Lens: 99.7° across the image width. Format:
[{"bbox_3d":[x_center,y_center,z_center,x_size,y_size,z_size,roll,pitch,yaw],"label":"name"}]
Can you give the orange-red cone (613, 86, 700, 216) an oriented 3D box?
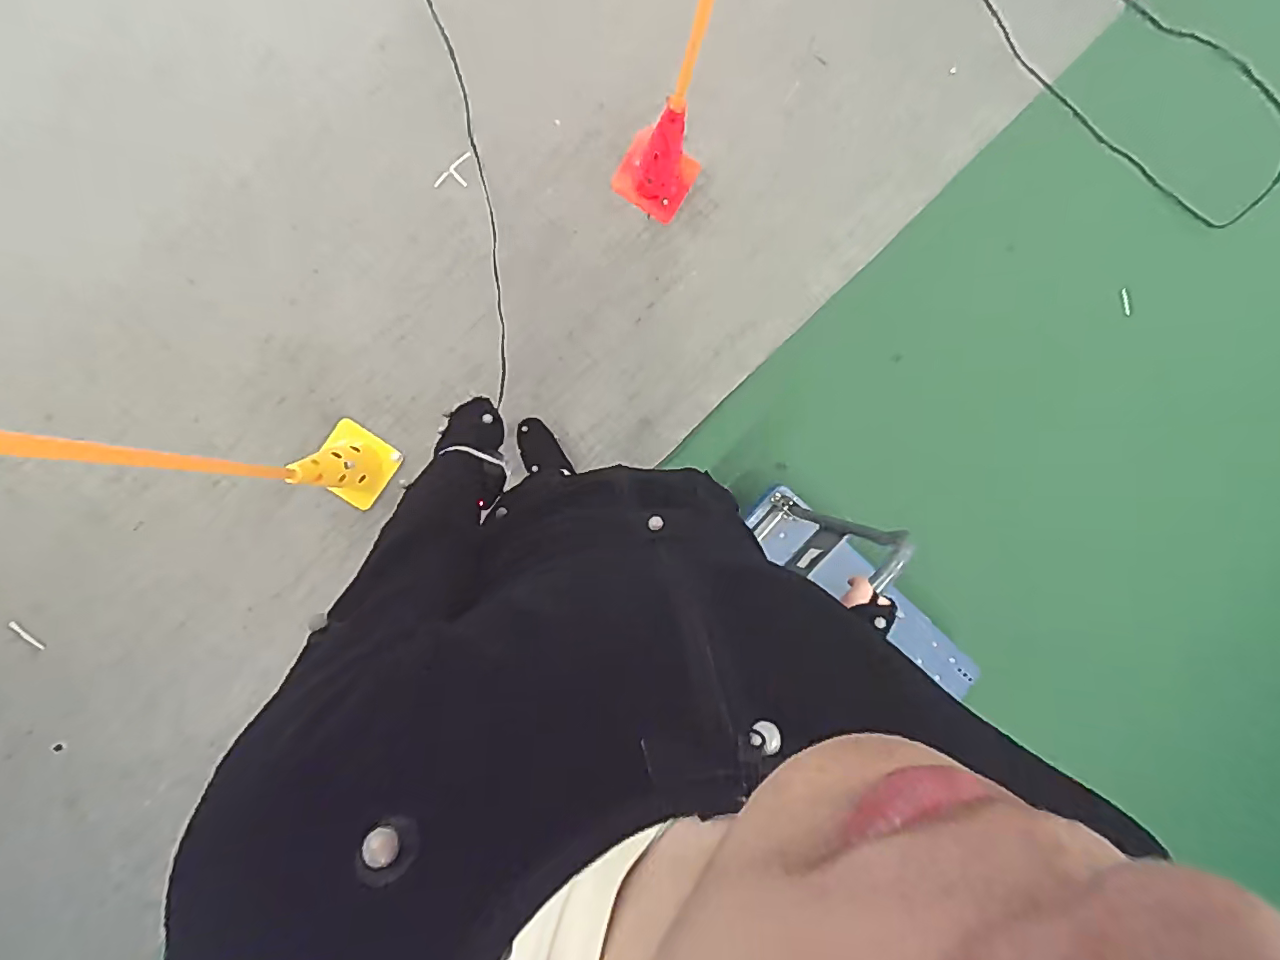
[{"bbox_3d":[0.070,-0.863,1.359,0.198,0.360,0.199,31,90,-9],"label":"orange-red cone"}]
